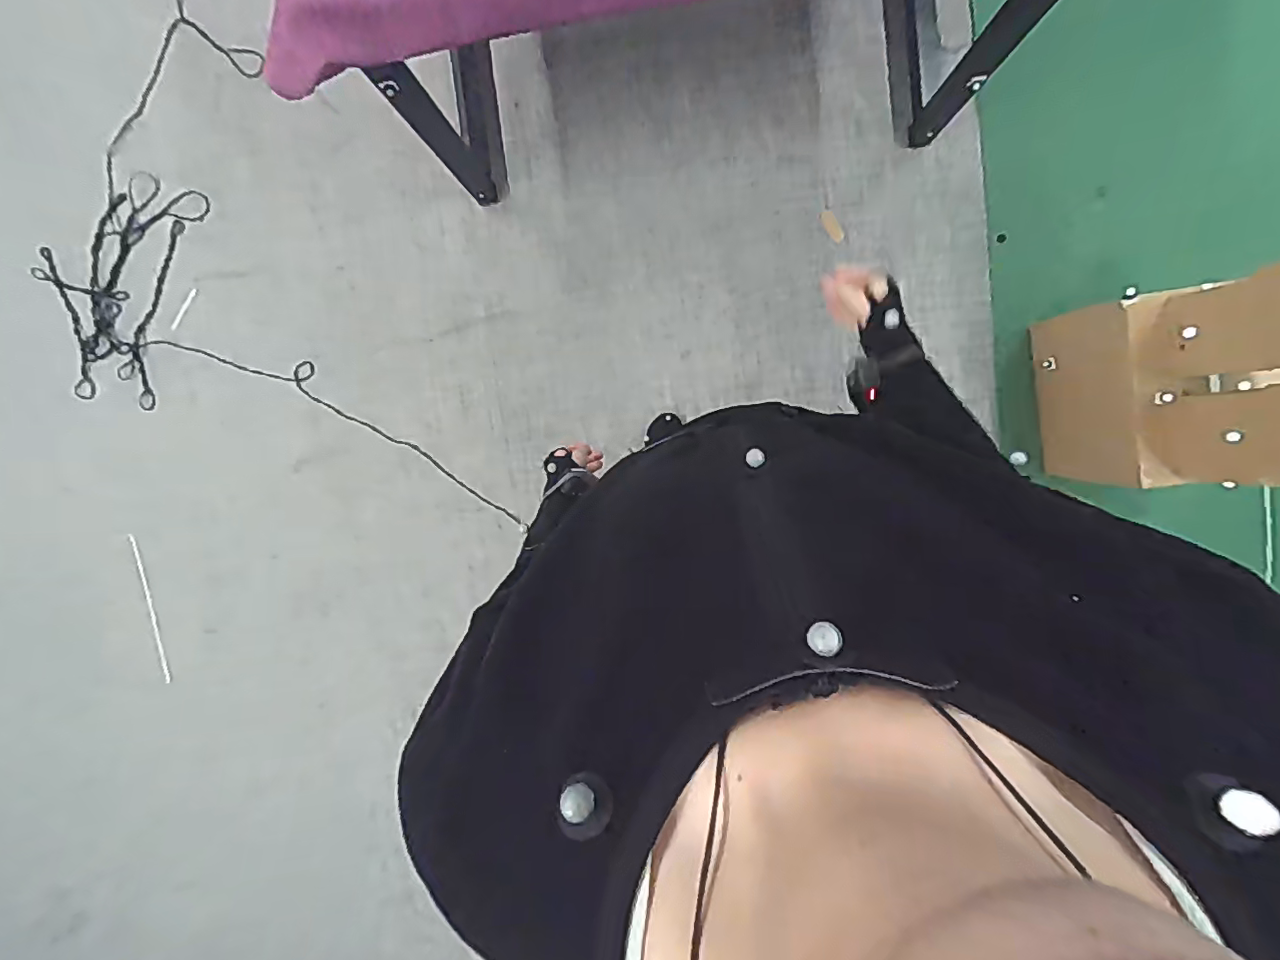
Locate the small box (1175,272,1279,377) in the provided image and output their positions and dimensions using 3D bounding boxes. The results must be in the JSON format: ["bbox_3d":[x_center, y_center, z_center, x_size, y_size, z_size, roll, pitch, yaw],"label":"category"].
[{"bbox_3d":[1.164,-0.294,1.003,0.179,0.176,0.168,-11,94,5],"label":"small box"}]

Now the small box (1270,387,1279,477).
[{"bbox_3d":[1.177,-0.073,0.860,0.168,0.176,0.179,-2,94,6],"label":"small box"}]
